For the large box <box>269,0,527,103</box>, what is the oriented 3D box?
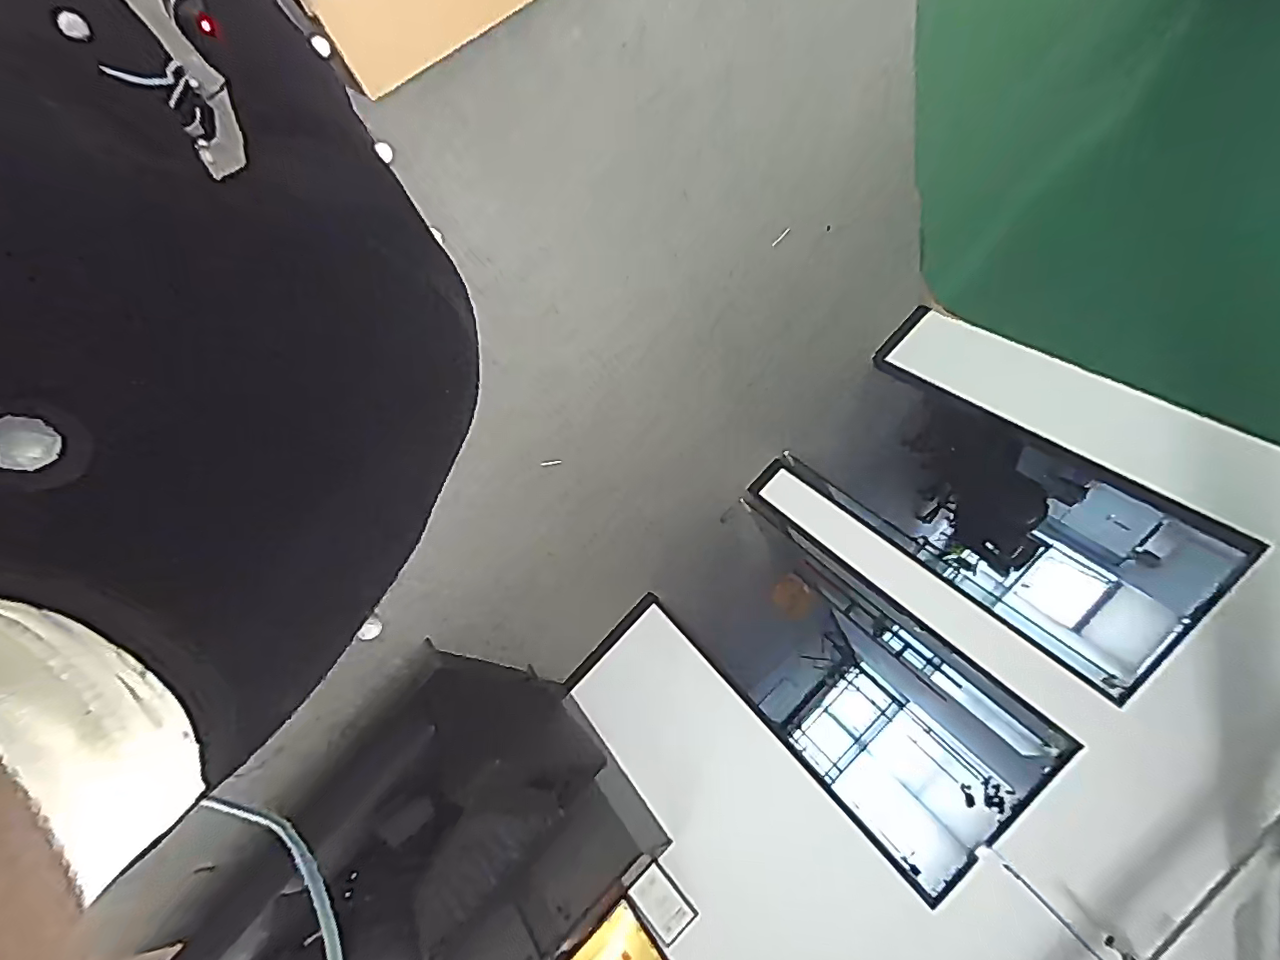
[{"bbox_3d":[-0.440,-0.917,0.901,0.408,0.320,0.320,-41,145,-9],"label":"large box"}]
